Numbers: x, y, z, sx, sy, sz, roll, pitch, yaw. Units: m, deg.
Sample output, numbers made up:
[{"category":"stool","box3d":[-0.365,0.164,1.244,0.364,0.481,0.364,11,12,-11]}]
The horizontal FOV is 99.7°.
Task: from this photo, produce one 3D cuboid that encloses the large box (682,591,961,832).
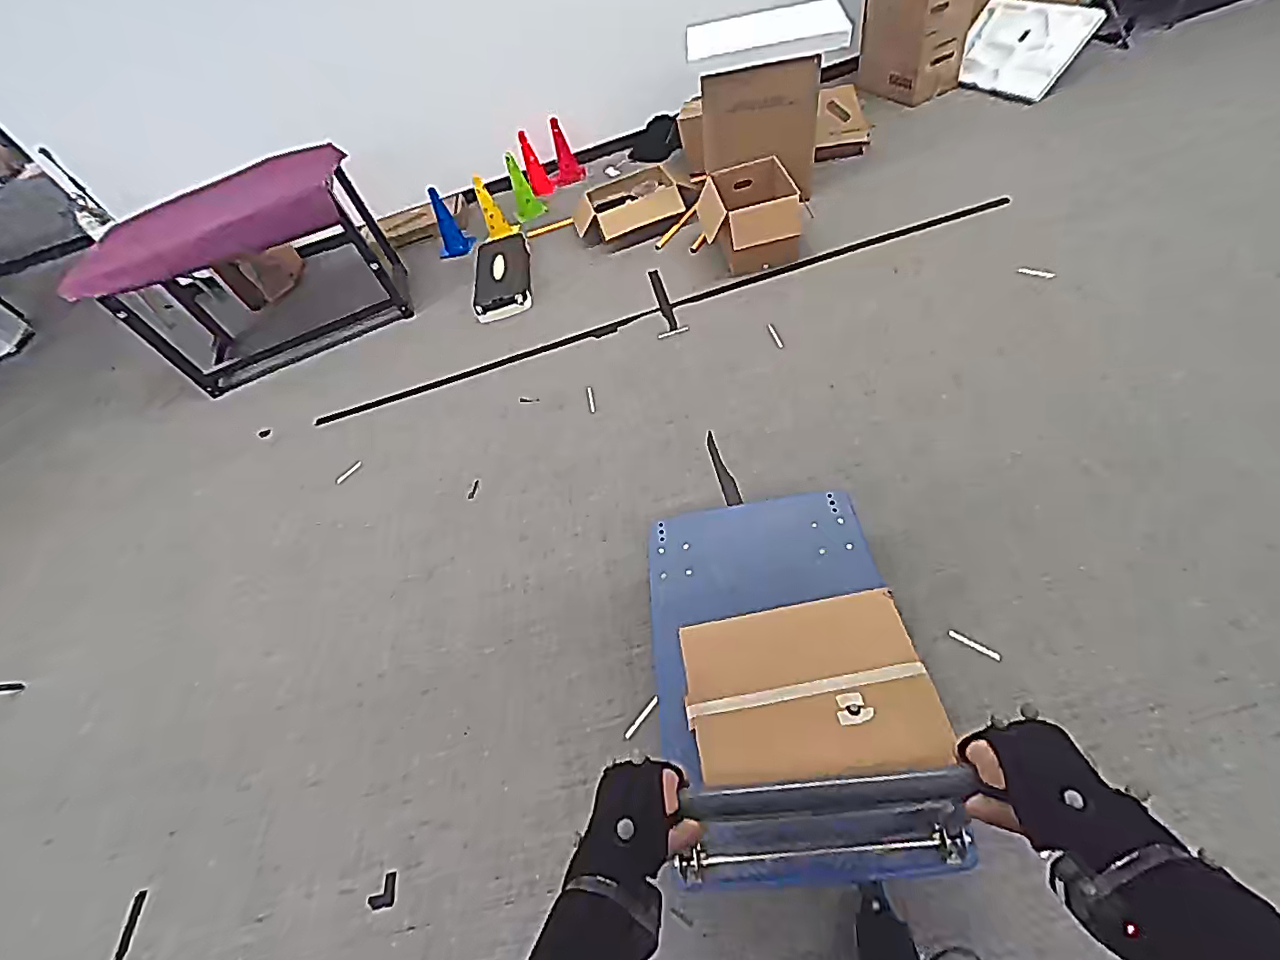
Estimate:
[{"category":"large box","box3d":[0.322,0.464,1.066,0.408,0.320,0.320,-13,51,5]}]
